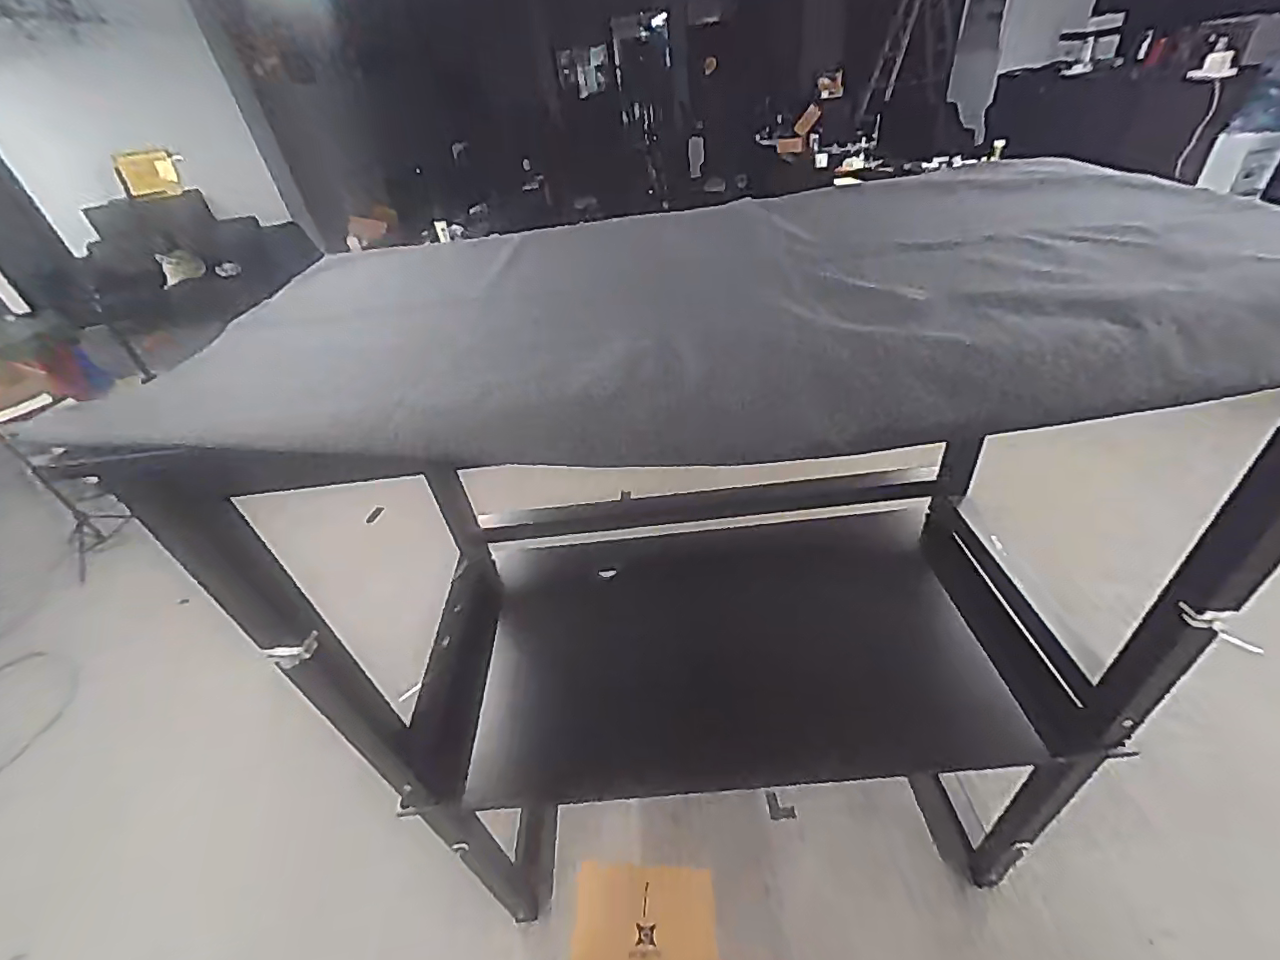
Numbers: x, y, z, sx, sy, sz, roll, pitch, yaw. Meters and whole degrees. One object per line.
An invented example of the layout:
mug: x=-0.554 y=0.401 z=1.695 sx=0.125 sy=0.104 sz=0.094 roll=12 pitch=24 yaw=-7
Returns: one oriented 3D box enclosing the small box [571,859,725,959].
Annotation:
small box: x=0.007 y=0.575 z=0.610 sx=0.168 sy=0.176 sz=0.179 roll=3 pitch=19 yaw=1
